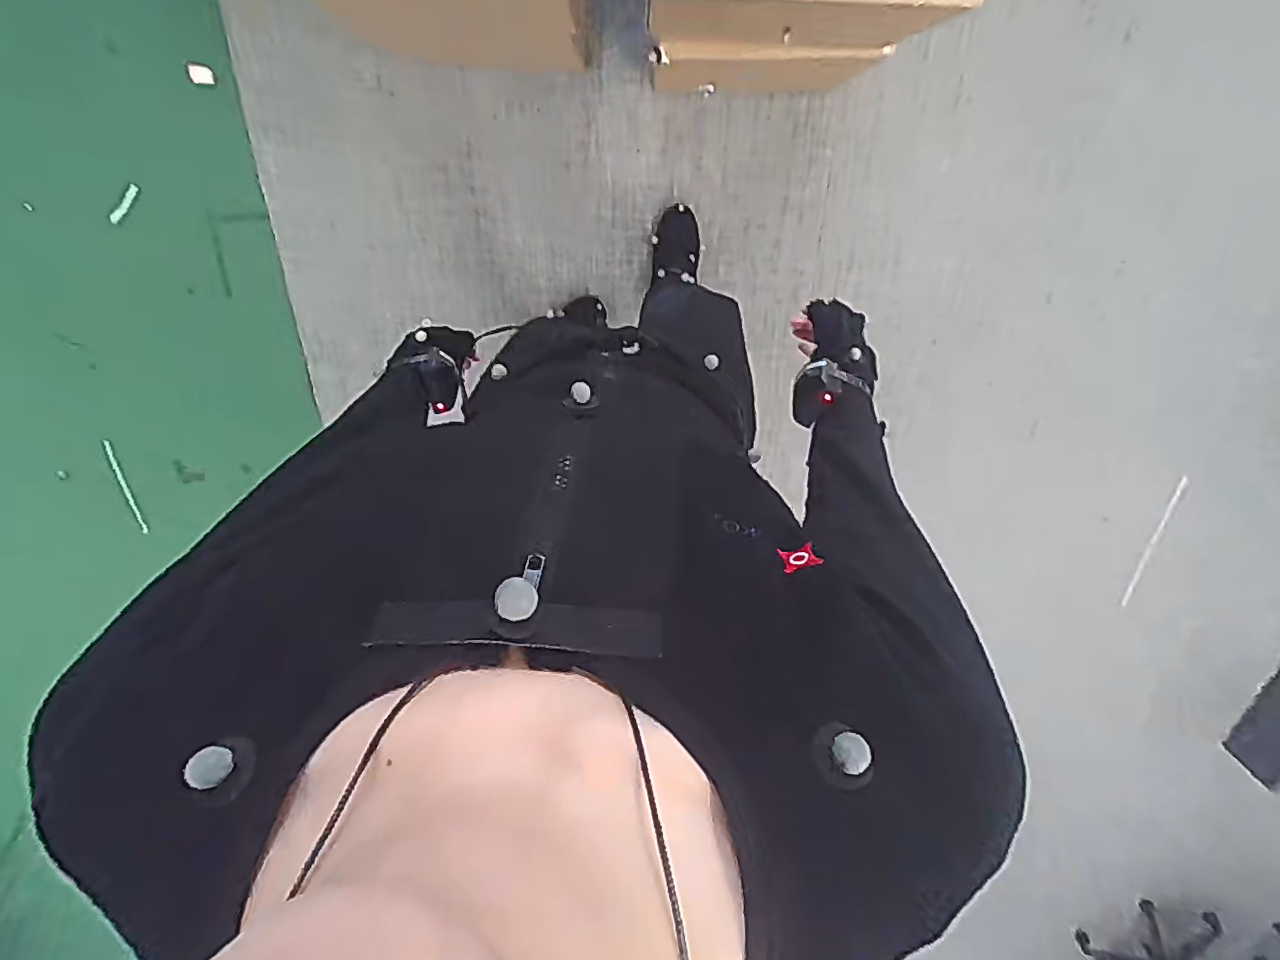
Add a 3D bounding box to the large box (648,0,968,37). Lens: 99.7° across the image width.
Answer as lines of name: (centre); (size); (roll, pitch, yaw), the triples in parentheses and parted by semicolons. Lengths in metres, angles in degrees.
large box: (0.217, -0.790, 0.696); (0.408, 0.320, 0.320); (2, 121, 0)
